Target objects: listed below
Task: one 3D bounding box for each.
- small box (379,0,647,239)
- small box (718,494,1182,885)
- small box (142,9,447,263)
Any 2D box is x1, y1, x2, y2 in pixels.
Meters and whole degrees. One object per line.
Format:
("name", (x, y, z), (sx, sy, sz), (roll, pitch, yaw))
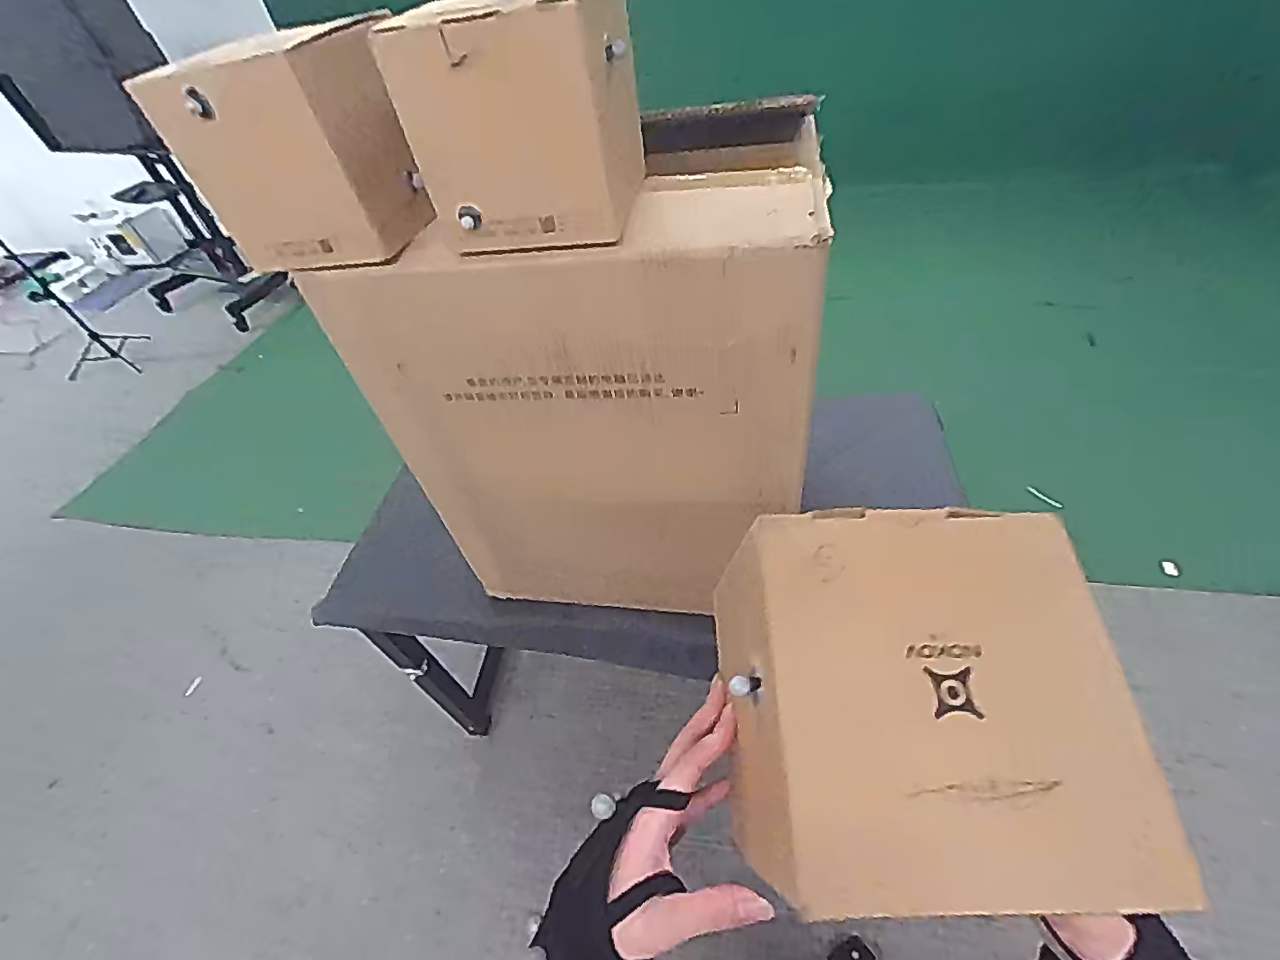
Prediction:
("small box", (-0.092, -0.336, 0.498), (0.168, 0.176, 0.179), (2, 47, 12))
("small box", (0.143, 0.123, 0.331), (0.168, 0.176, 0.179), (1, 65, -1))
("small box", (-0.311, -0.339, 0.544), (0.168, 0.176, 0.179), (1, 47, 16))
